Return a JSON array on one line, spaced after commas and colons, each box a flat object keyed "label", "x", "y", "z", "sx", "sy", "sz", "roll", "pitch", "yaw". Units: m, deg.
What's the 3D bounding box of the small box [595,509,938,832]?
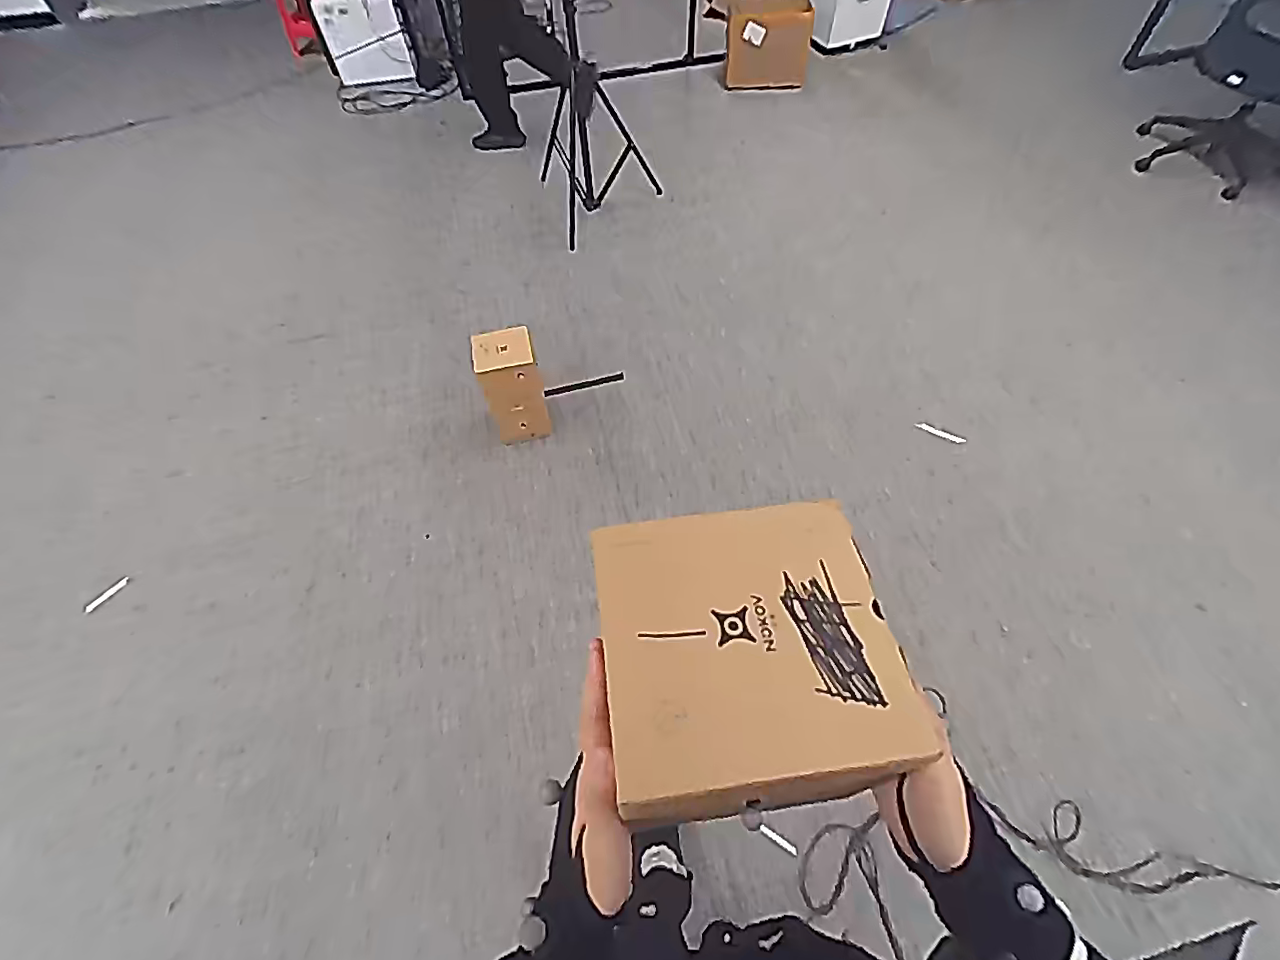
[{"label": "small box", "x": 0.063, "y": 0.140, "z": 0.388, "sx": 0.179, "sy": 0.176, "sz": 0.168, "roll": -6, "pitch": 53, "yaw": -5}]

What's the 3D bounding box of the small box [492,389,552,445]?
[{"label": "small box", "x": -0.399, "y": -0.236, "z": 1.818, "sx": 0.168, "sy": 0.176, "sz": 0.179, "roll": -12, "pitch": 58, "yaw": -5}]

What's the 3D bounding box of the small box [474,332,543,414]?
[{"label": "small box", "x": -0.404, "y": -0.330, "z": 1.680, "sx": 0.179, "sy": 0.176, "sz": 0.168, "roll": -13, "pitch": 56, "yaw": -6}]
